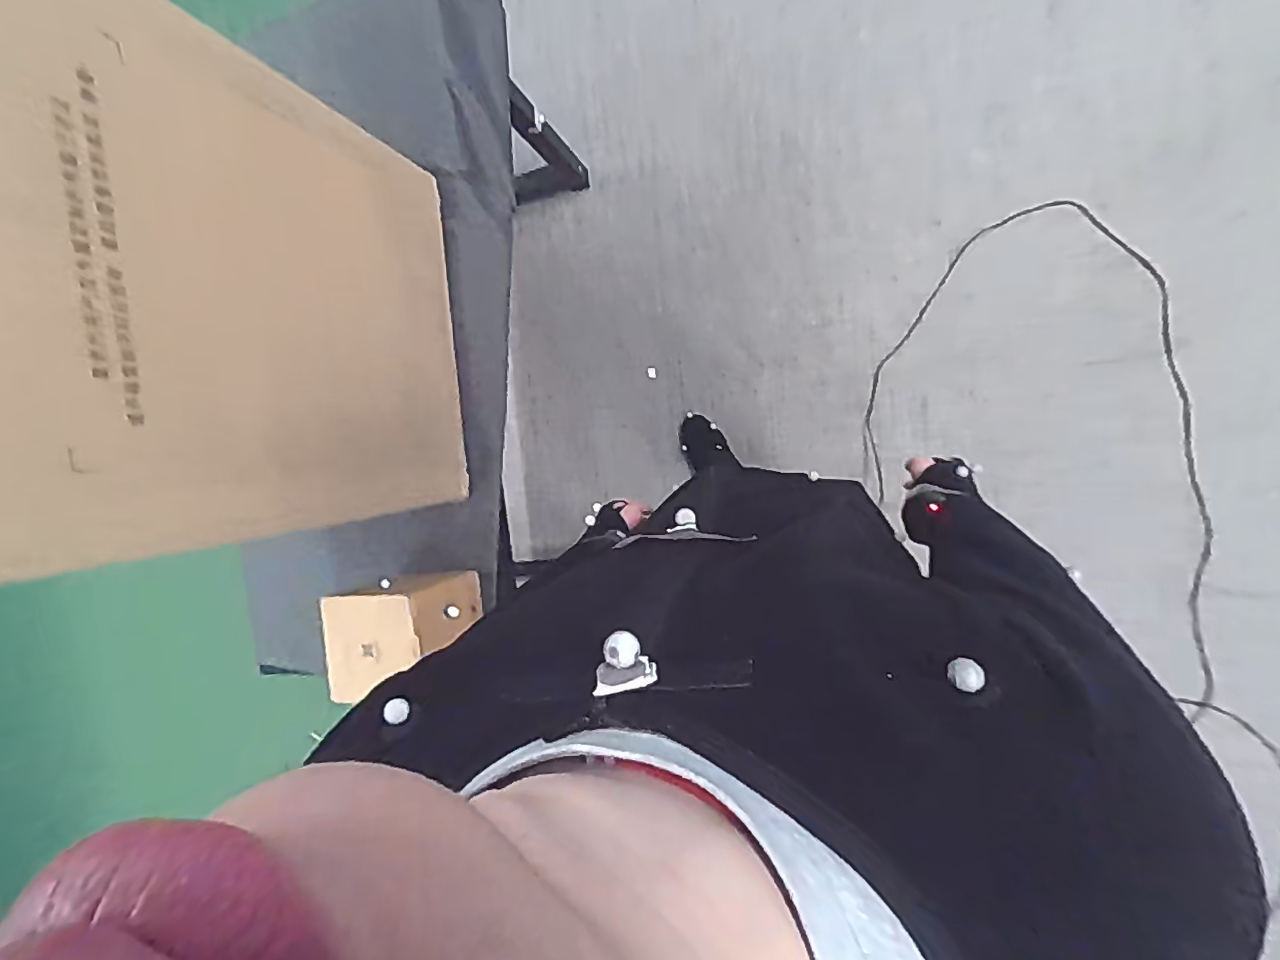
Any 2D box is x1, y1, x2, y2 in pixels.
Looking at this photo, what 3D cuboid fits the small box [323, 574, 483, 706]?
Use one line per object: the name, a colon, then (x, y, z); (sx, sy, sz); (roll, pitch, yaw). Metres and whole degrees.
small box: (-0.372, 0.250, 0.880); (0.179, 0.176, 0.168); (-6, 89, 19)
